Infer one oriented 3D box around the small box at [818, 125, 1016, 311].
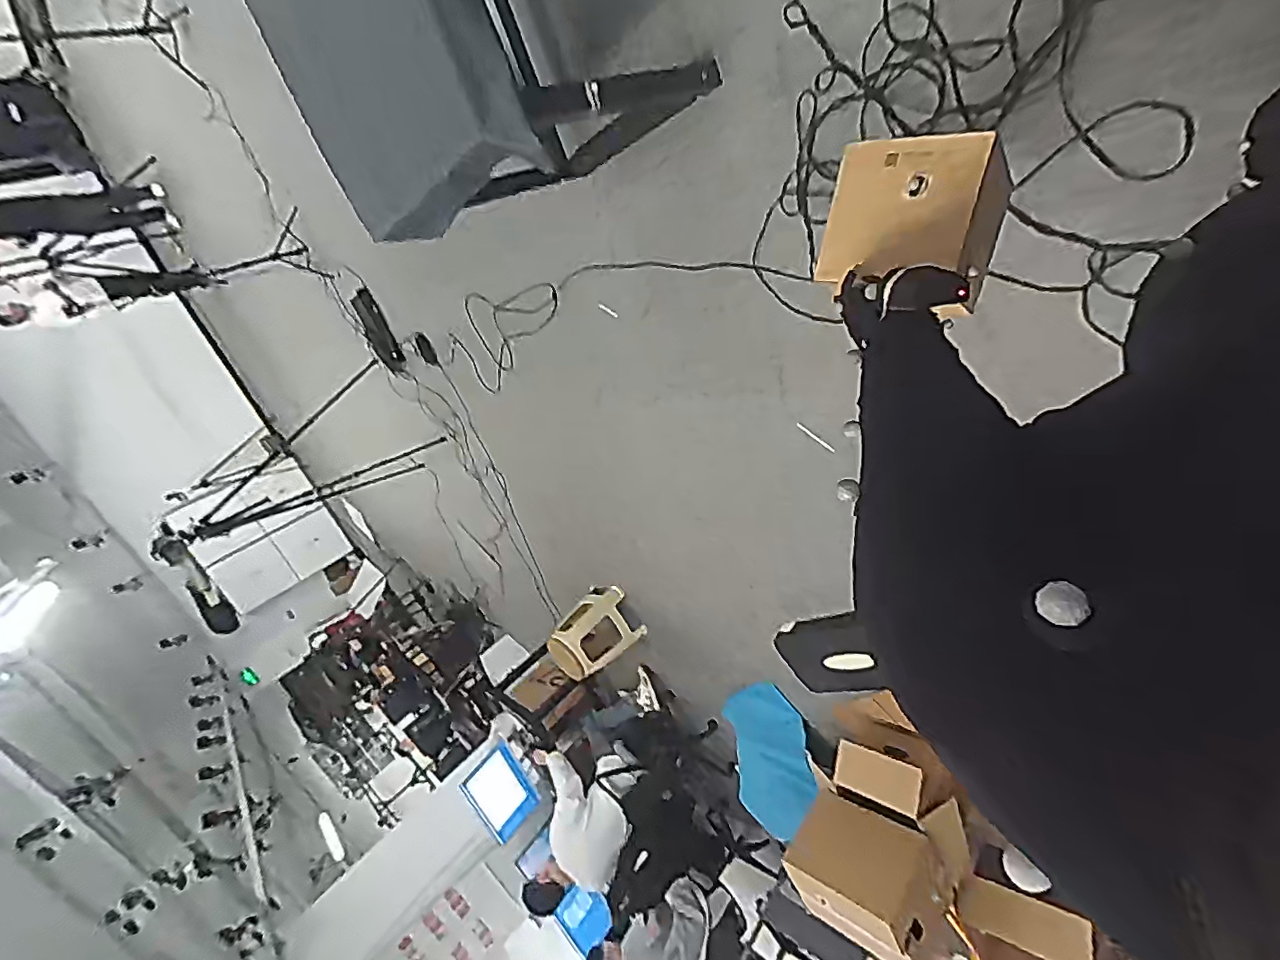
[{"bbox_3d":[0.357,-0.327,0.693,0.168,0.179,0.176,22,108,35],"label":"small box"}]
